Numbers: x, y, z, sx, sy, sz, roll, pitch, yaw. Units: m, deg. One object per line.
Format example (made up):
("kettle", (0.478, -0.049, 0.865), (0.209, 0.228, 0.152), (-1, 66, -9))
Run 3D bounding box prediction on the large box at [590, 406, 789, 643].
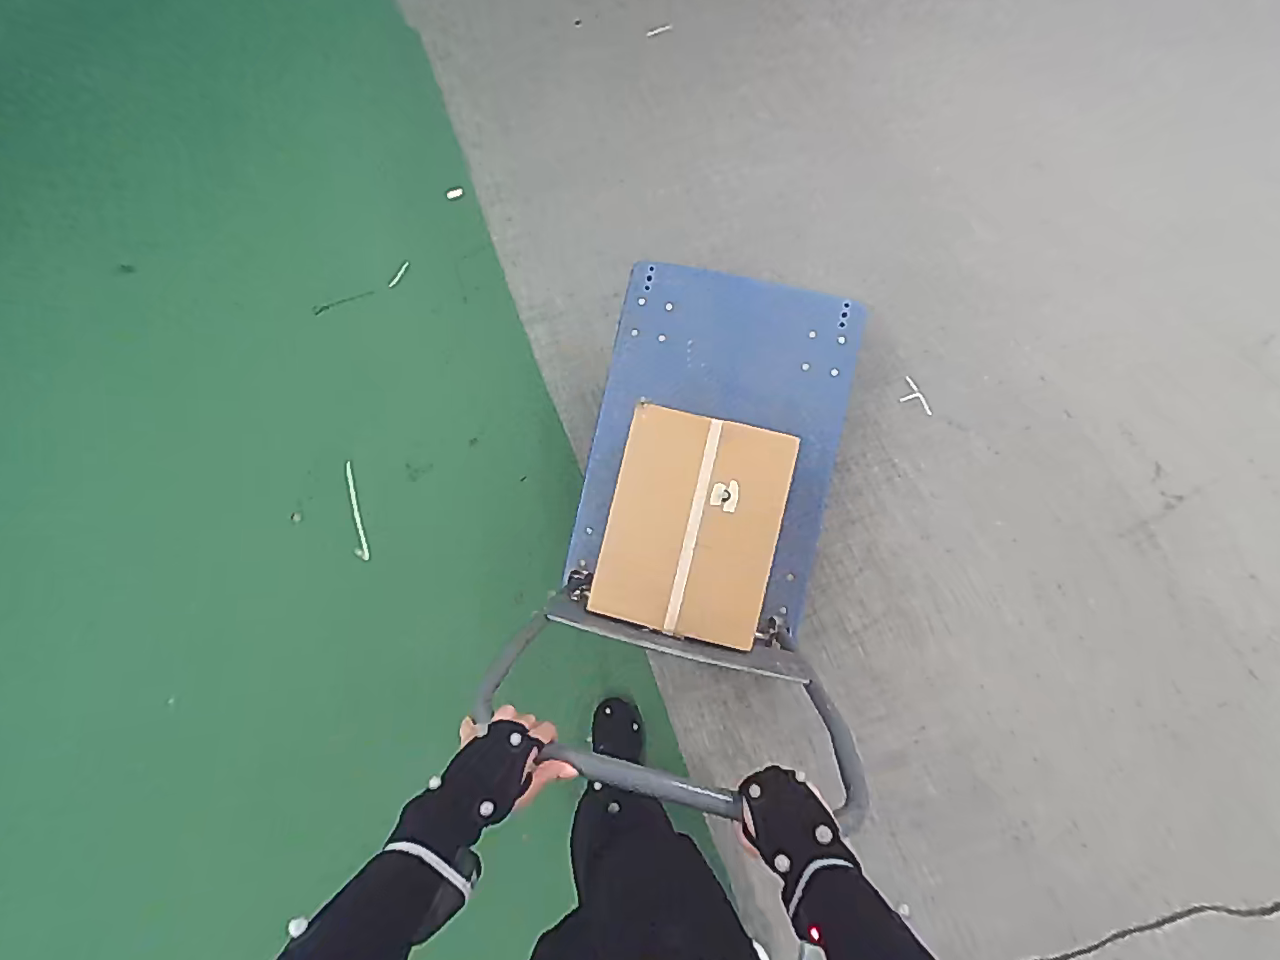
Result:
("large box", (0.105, 0.093, 1.173), (0.320, 0.320, 0.408), (13, 87, 4))
